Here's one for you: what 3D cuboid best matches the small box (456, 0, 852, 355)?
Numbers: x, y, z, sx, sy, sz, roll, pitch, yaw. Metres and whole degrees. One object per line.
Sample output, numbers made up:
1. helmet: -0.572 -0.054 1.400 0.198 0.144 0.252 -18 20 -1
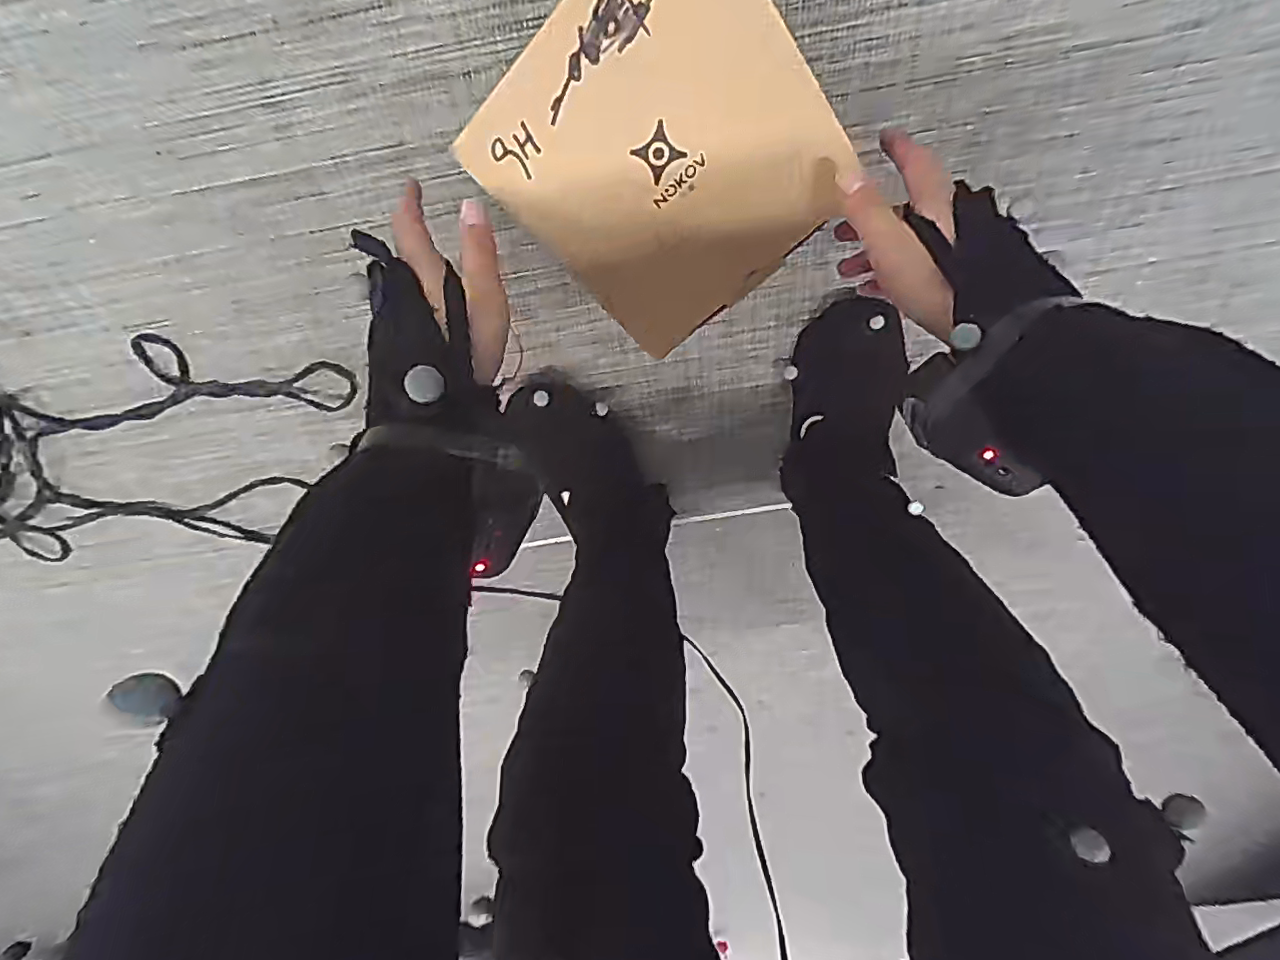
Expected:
1. small box: 0.009 -0.229 0.373 0.168 0.176 0.179 -36 123 23
